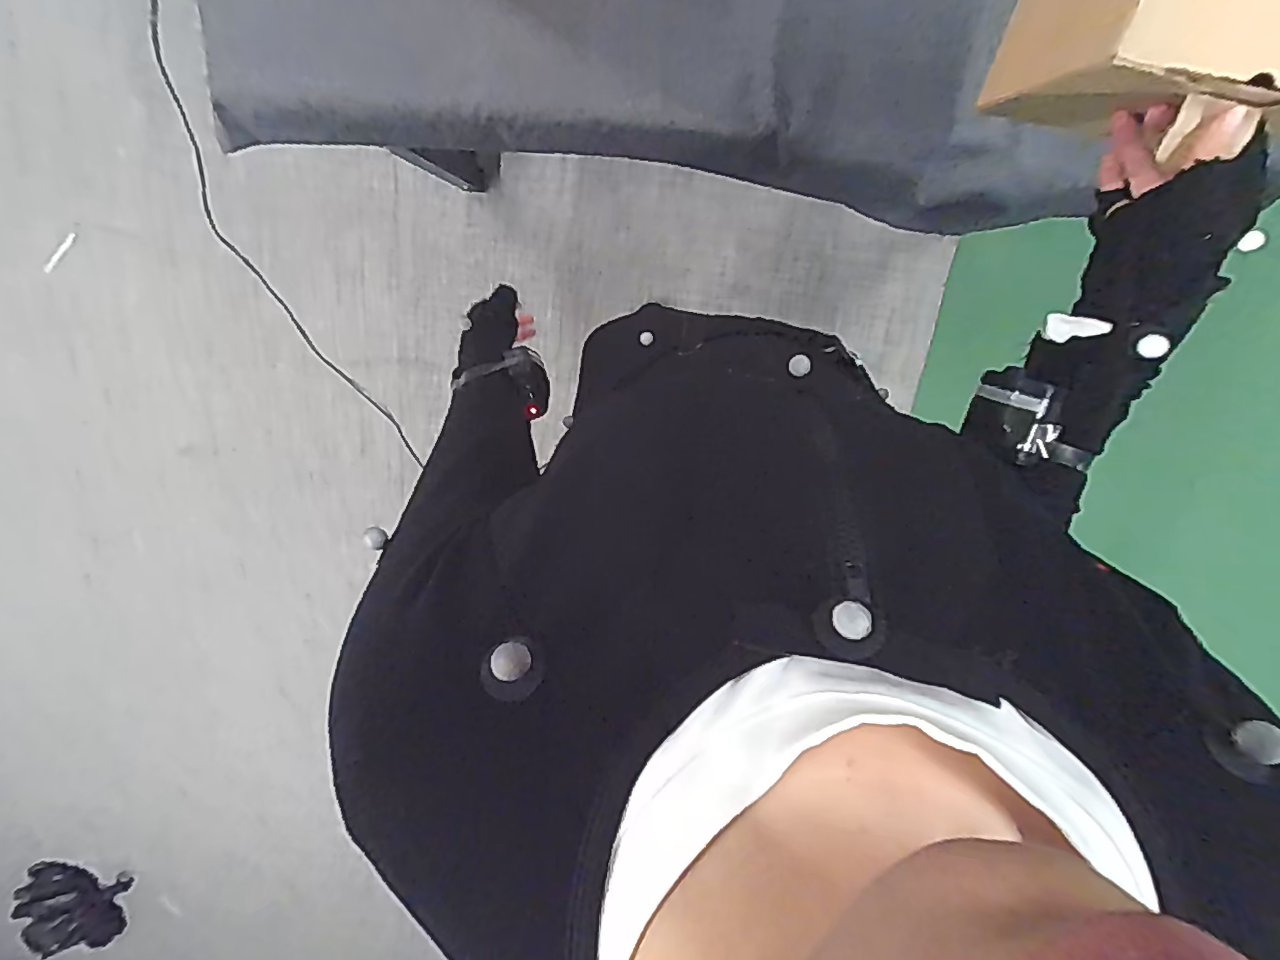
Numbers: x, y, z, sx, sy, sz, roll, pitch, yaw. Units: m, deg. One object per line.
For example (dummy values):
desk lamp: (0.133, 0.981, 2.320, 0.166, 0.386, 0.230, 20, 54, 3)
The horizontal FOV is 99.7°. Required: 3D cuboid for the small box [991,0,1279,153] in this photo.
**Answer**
small box: (0.359, -0.319, 0.334, 0.168, 0.176, 0.179, 12, 117, 0)
